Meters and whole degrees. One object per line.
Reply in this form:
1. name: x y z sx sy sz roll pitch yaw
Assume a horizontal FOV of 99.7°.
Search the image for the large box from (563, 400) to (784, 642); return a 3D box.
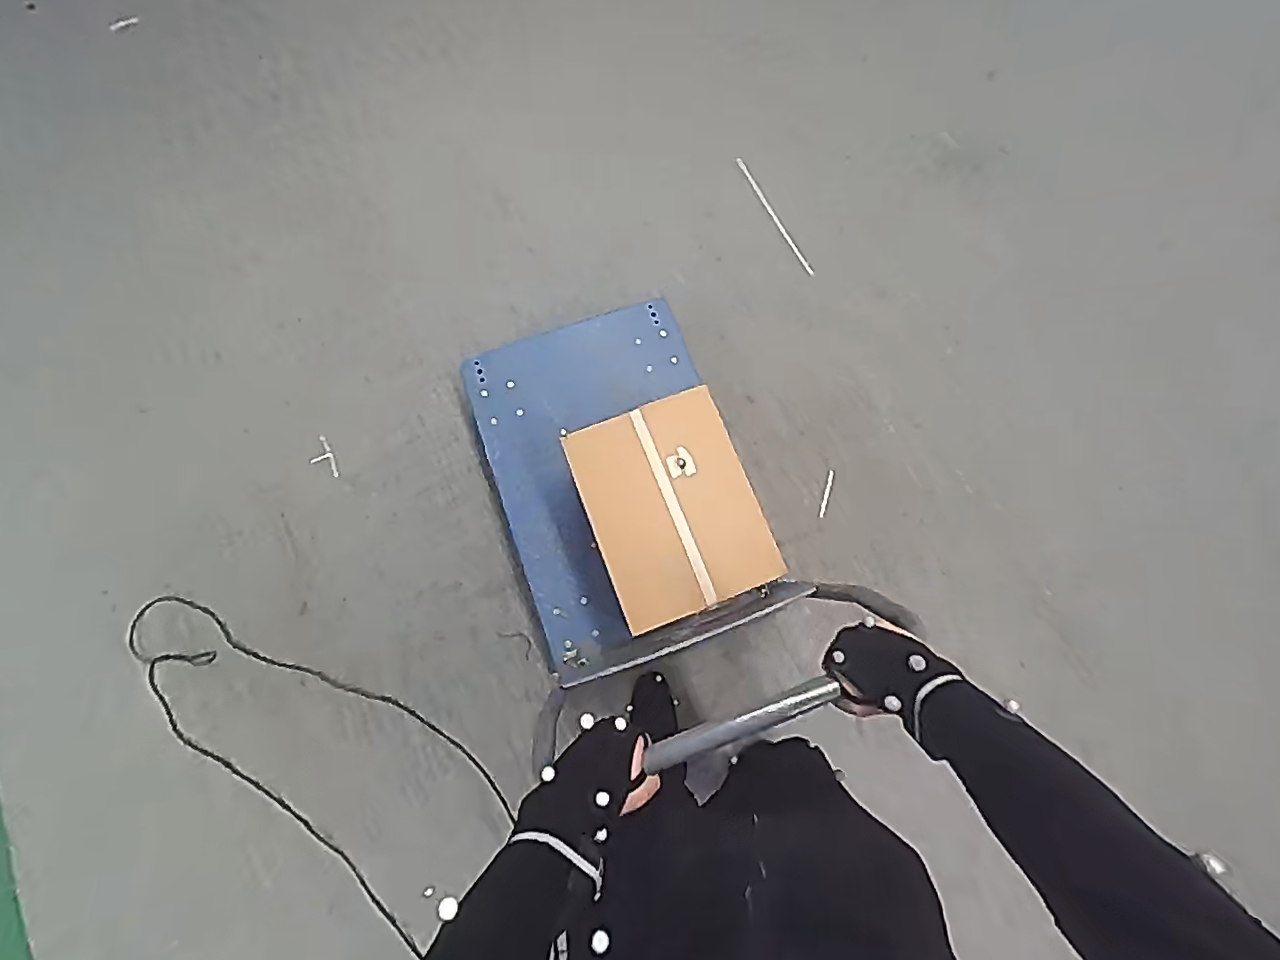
1. large box: 0.061 0.102 1.192 0.320 0.320 0.408 -21 78 -6
